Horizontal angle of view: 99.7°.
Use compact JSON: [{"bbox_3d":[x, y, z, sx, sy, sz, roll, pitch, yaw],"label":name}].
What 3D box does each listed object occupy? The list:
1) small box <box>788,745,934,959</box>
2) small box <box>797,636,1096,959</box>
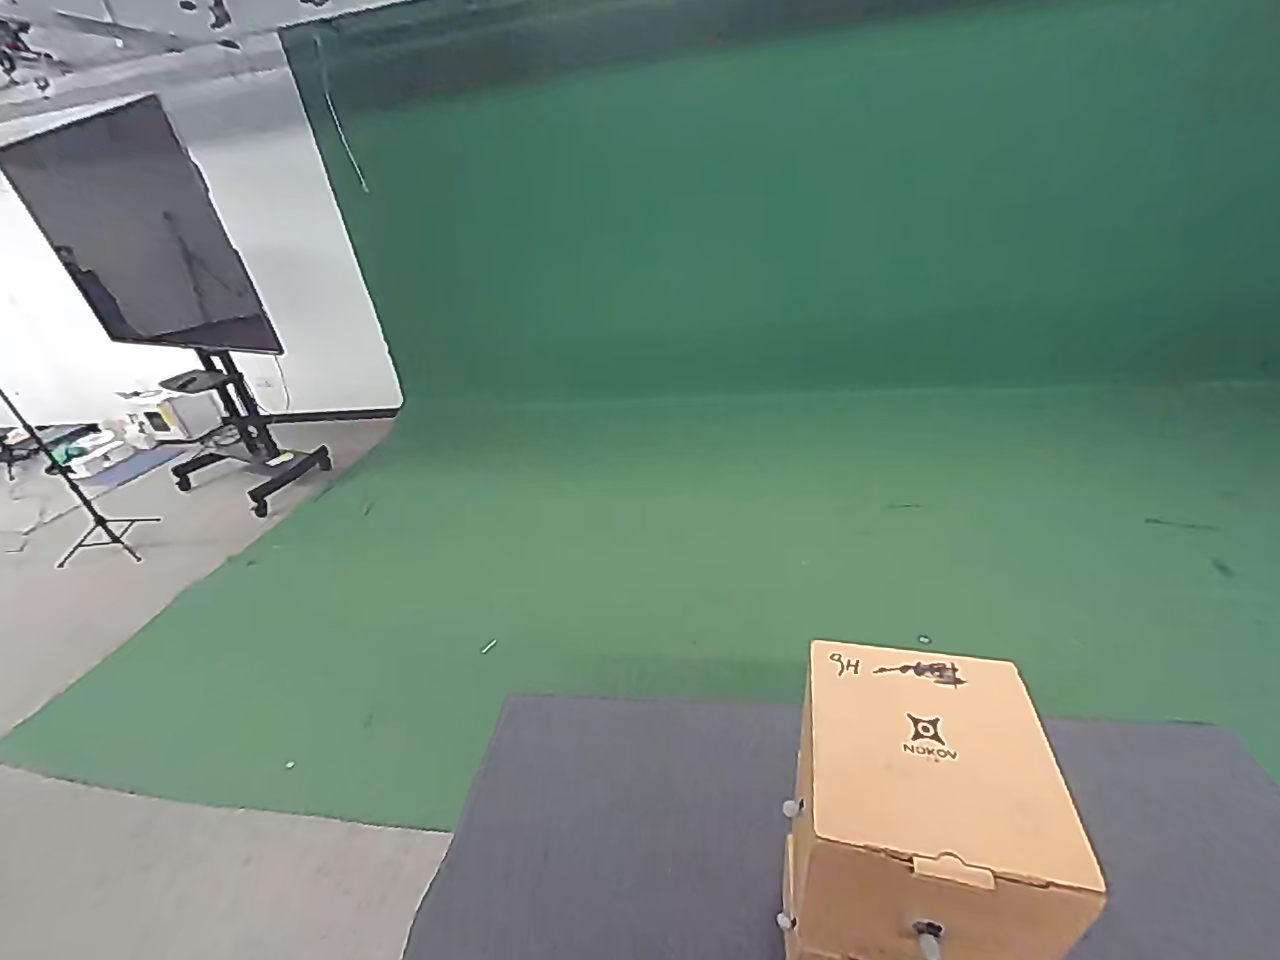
[{"bbox_3d":[0.236,0.400,0.529,0.168,0.176,0.179,2,31,14],"label":"small box"},{"bbox_3d":[0.220,0.260,0.445,0.168,0.176,0.179,3,34,16],"label":"small box"}]
